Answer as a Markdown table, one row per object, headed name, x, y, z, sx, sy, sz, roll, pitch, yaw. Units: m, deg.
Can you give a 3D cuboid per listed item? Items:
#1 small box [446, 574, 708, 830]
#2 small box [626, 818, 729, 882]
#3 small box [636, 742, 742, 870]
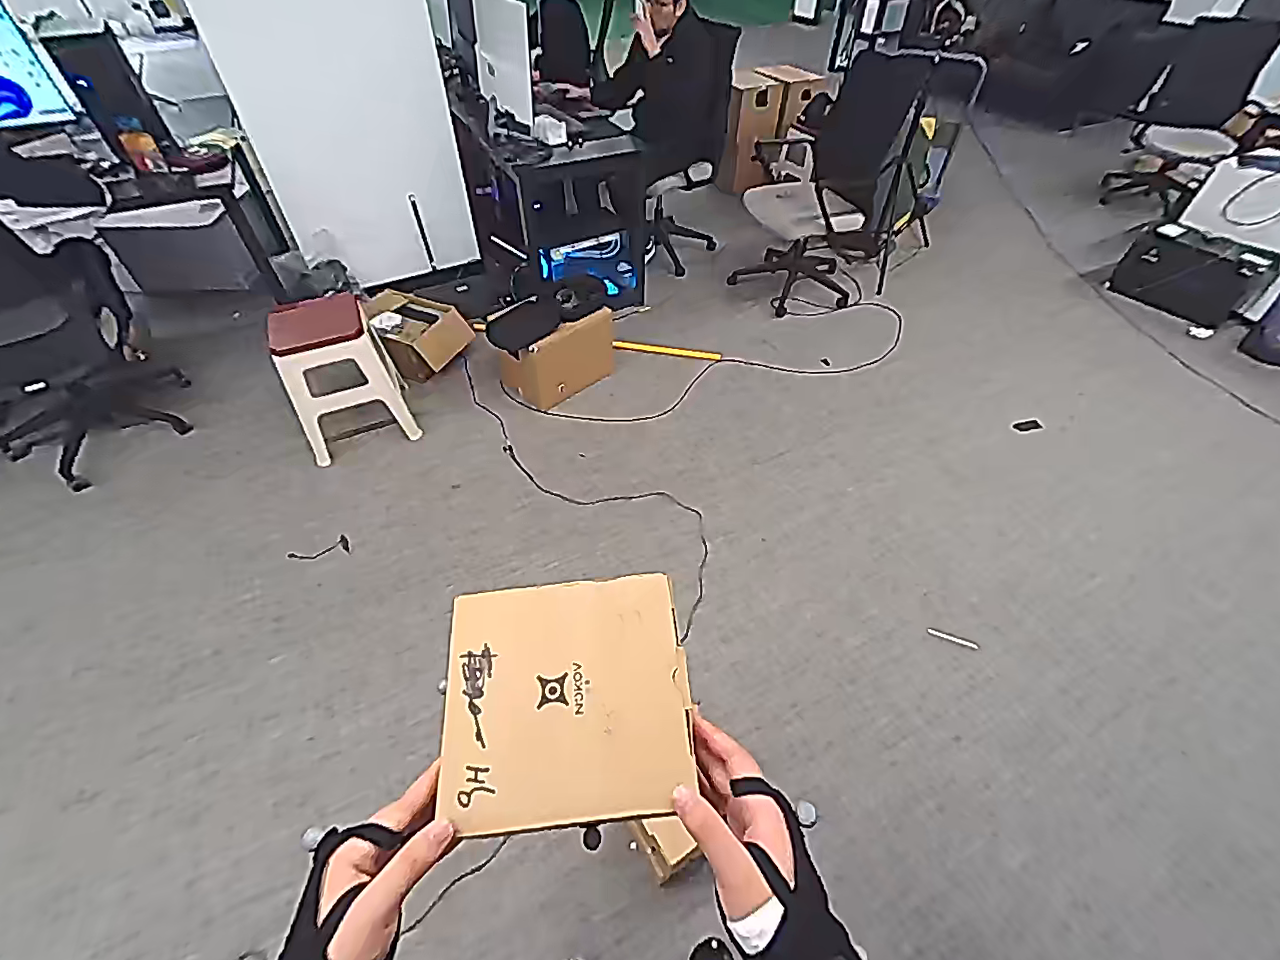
| name | x | y | z | sx | sy | sz | roll | pitch | yaw |
| --- | --- | --- | --- | --- | --- | --- | --- | --- | --- |
| small box | -0.047 | 0.196 | 0.466 | 0.179 | 0.176 | 0.168 | -6 | 56 | -2 |
| small box | 0.074 | 0.767 | 1.222 | 0.179 | 0.176 | 0.168 | -25 | 53 | -20 |
| small box | 0.081 | 0.656 | 1.103 | 0.179 | 0.176 | 0.168 | -26 | 54 | -23 |
